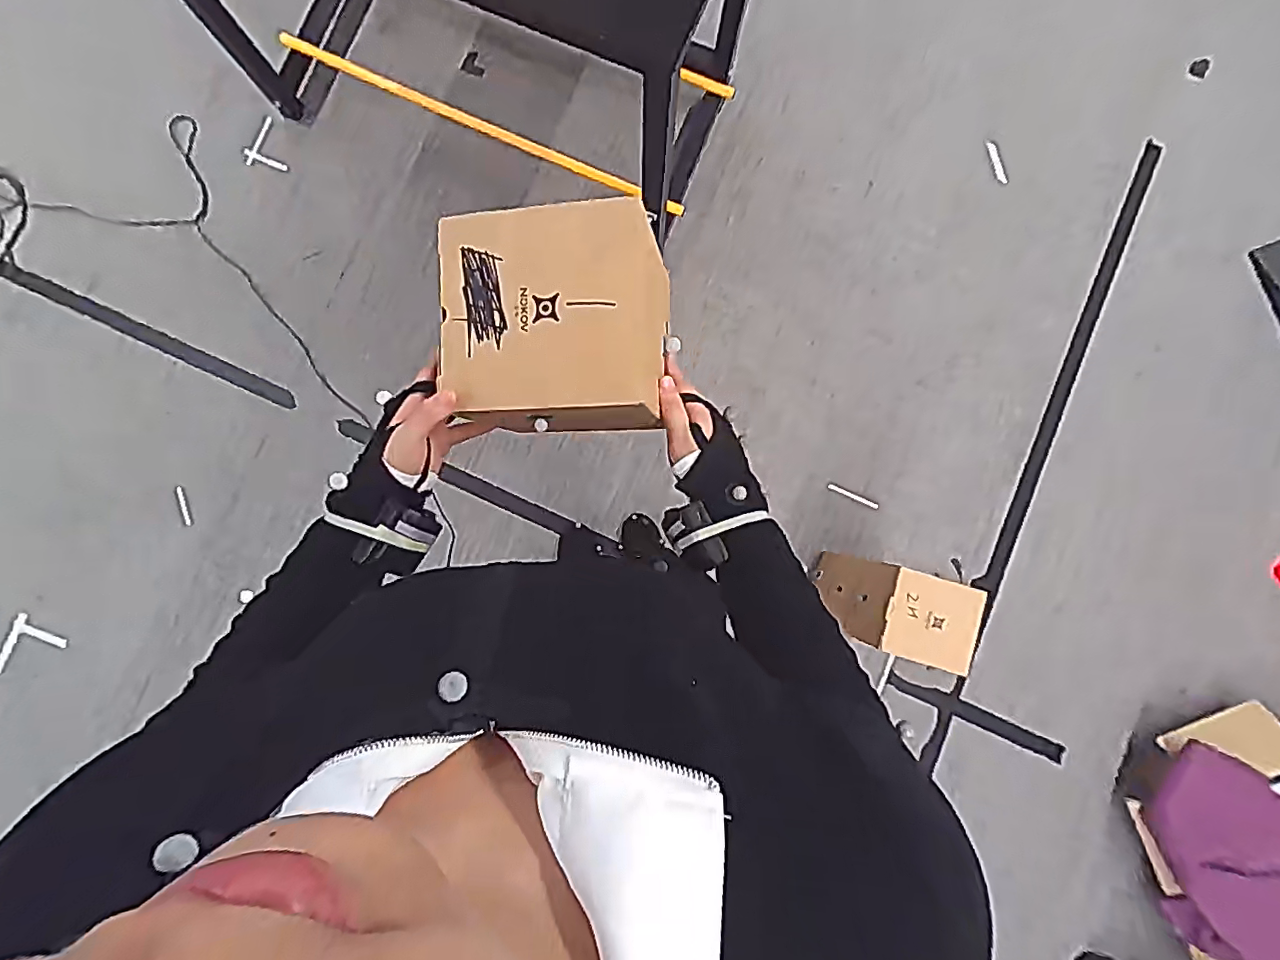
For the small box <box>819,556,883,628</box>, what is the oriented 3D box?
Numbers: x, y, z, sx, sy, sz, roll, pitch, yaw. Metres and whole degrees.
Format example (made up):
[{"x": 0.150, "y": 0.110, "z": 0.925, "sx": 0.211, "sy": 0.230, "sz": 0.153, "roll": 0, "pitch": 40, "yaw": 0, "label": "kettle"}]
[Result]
[{"x": 0.546, "y": 0.285, "z": 1.264, "sx": 0.179, "sy": 0.176, "sz": 0.168, "roll": 22, "pitch": 85, "yaw": 1, "label": "small box"}]

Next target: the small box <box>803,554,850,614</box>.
[{"x": 0.560, "y": 0.299, "z": 1.428, "sx": 0.179, "sy": 0.176, "sz": 0.168, "roll": 21, "pitch": 85, "yaw": 2, "label": "small box"}]

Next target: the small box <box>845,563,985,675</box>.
[{"x": 0.548, "y": 0.271, "z": 1.098, "sx": 0.179, "sy": 0.176, "sz": 0.168, "roll": 17, "pitch": 85, "yaw": 0, "label": "small box"}]

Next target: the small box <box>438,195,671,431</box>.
[{"x": -0.068, "y": -0.138, "z": 0.513, "sx": 0.179, "sy": 0.176, "sz": 0.168, "roll": -1, "pitch": 89, "yaw": 10, "label": "small box"}]
